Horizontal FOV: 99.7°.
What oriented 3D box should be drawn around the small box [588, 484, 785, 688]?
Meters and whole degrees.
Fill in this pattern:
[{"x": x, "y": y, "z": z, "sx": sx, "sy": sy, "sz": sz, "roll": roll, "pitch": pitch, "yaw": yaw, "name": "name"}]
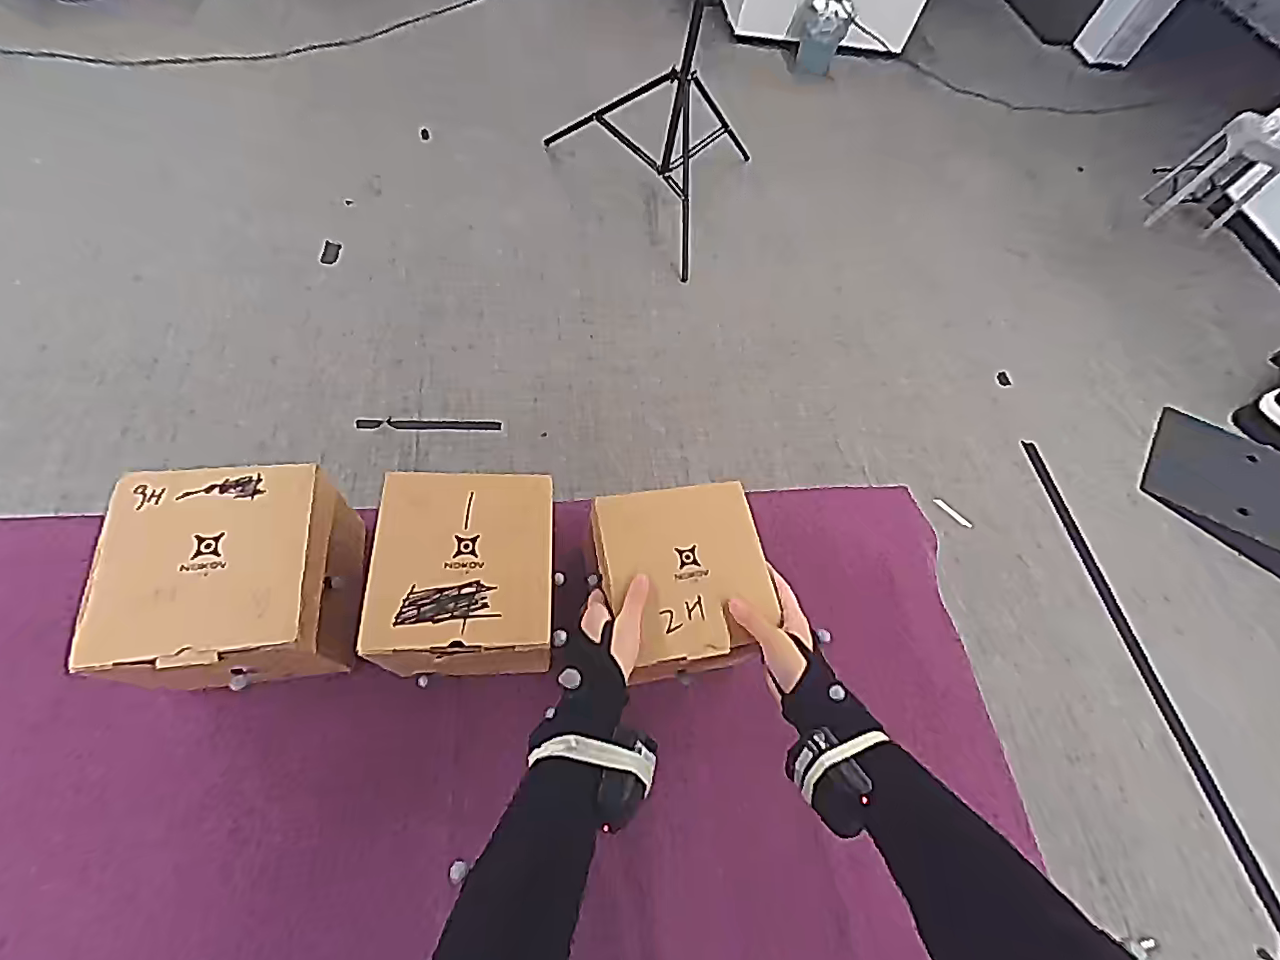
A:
[{"x": 0.036, "y": 0.124, "z": 0.613, "sx": 0.168, "sy": 0.176, "sz": 0.179, "roll": -6, "pitch": 65, "yaw": -12, "name": "small box"}]
